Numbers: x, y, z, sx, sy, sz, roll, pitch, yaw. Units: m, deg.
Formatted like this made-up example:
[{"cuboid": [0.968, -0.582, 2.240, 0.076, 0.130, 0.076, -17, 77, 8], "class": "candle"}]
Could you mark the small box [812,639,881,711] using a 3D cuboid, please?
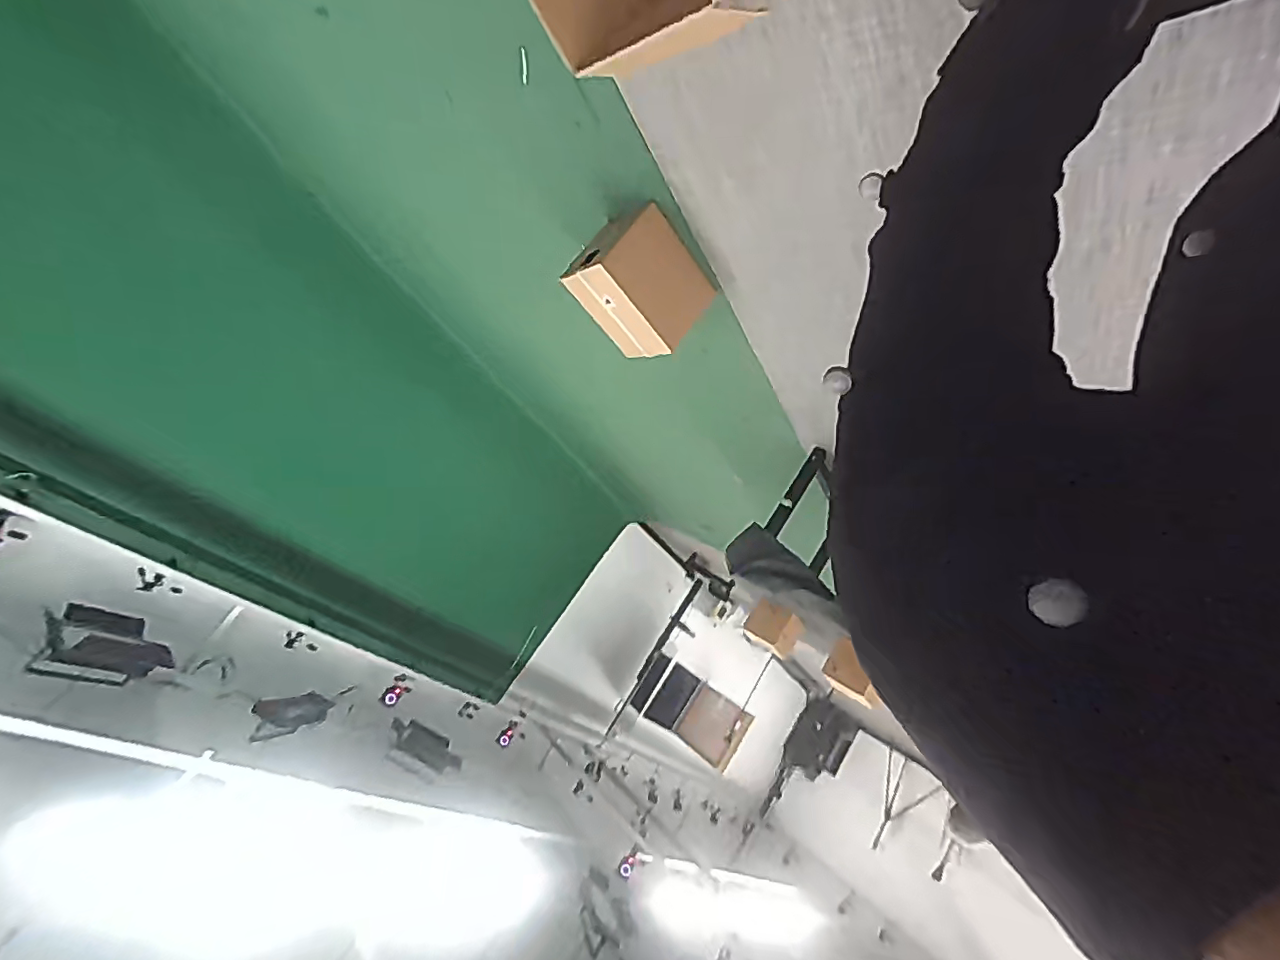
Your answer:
[{"cuboid": [0.777, 0.723, 2.015, 0.179, 0.176, 0.168, 22, 160, 45], "class": "small box"}]
